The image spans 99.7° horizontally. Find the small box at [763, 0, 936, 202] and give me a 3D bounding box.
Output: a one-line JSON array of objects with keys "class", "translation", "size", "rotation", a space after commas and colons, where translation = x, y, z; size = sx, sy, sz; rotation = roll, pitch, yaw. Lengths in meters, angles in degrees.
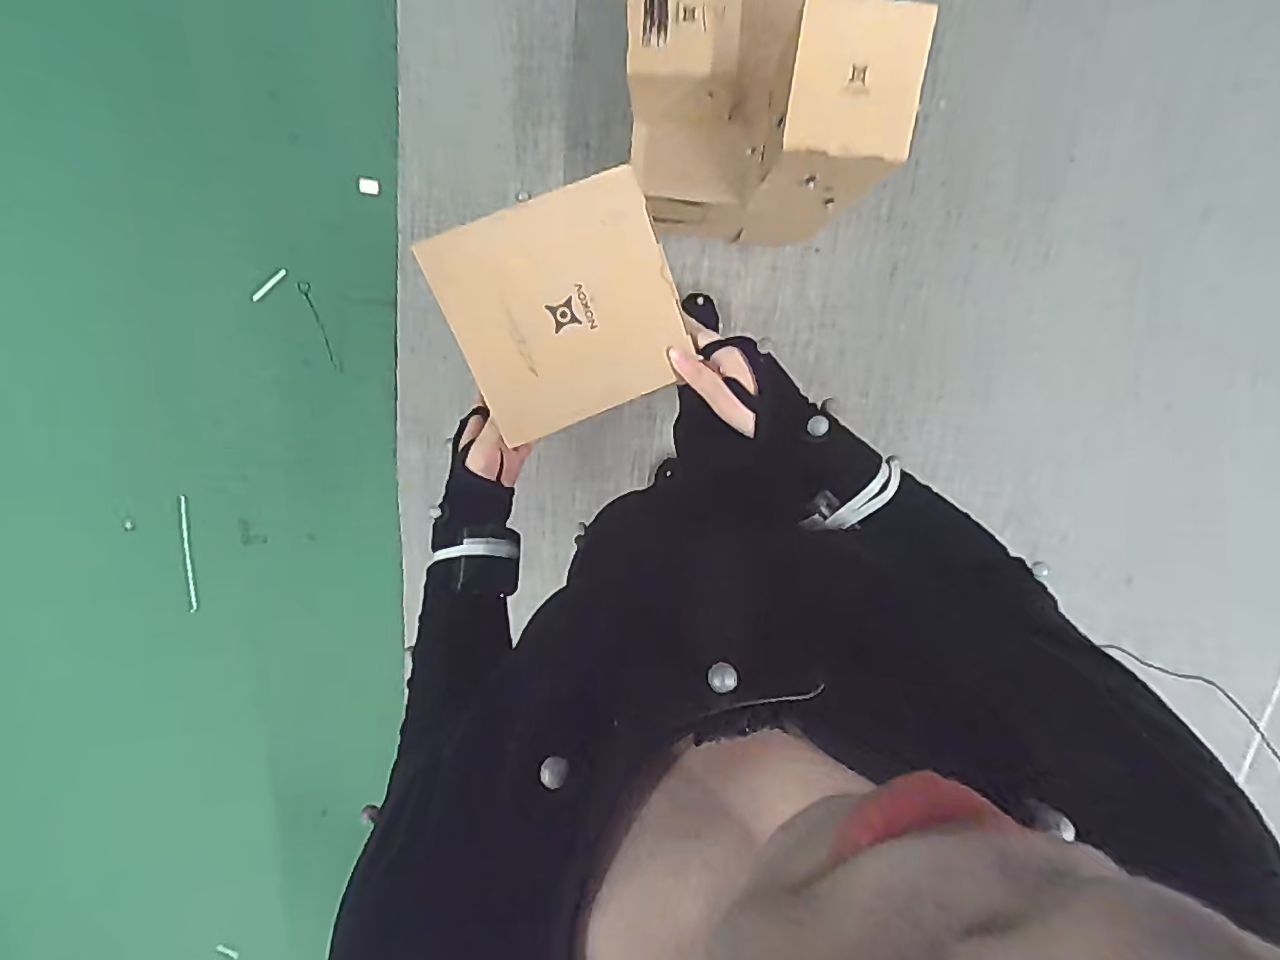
[{"class": "small box", "translation": [0.279, -0.518, 0.764], "size": [0.168, 0.176, 0.179], "rotation": [7, 104, 1]}]

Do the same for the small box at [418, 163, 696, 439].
[{"class": "small box", "translation": [-0.073, -0.158, 0.498], "size": [0.179, 0.176, 0.168], "rotation": [-22, 109, -5]}]
